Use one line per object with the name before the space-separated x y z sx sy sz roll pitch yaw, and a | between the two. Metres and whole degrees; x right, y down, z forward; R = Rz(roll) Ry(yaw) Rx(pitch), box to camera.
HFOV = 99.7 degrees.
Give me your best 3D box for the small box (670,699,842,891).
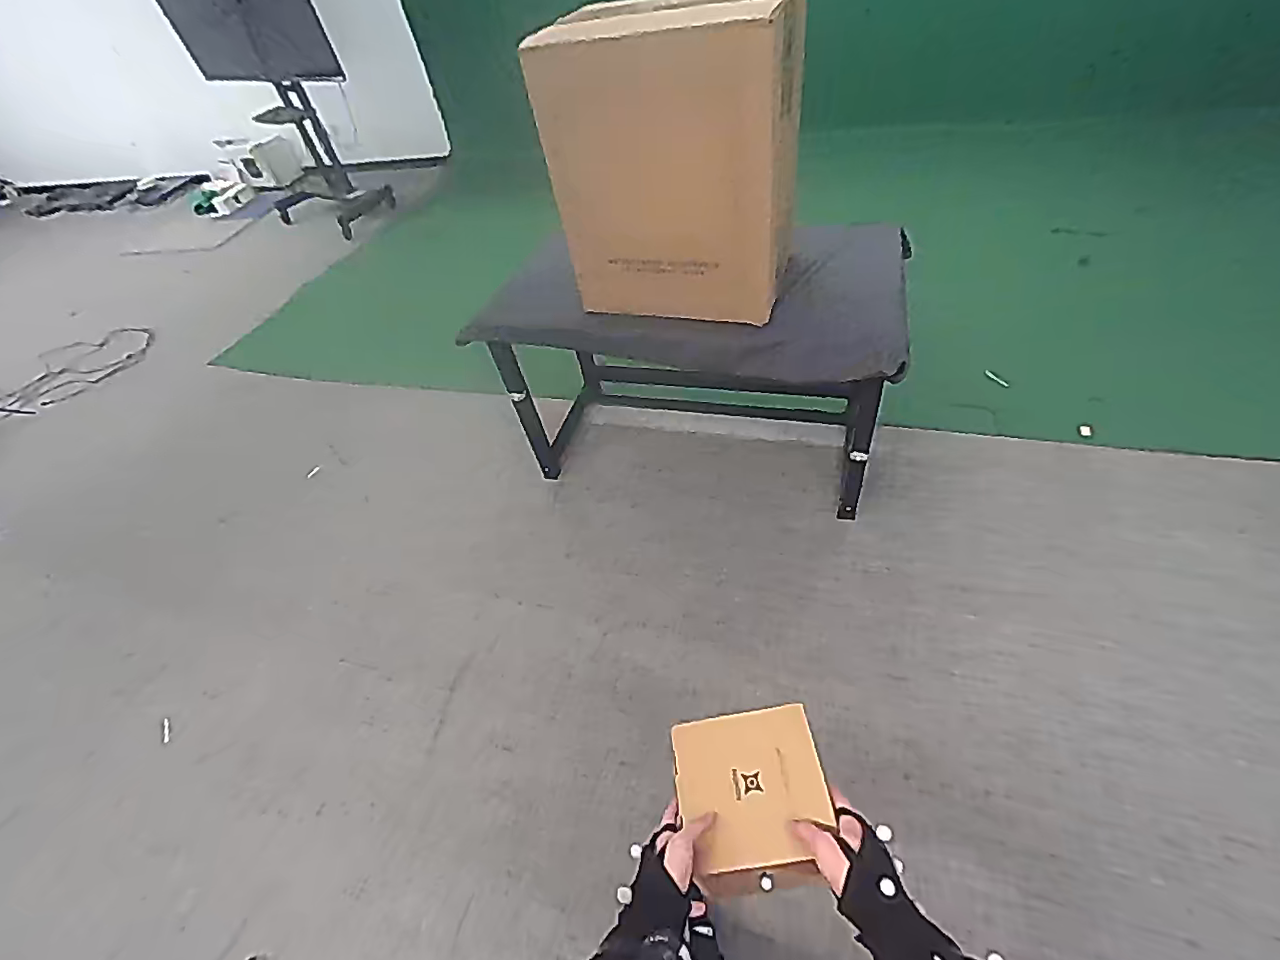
small box | 0.148 0.412 0.703 0.179 0.176 0.168 -13 45 5
